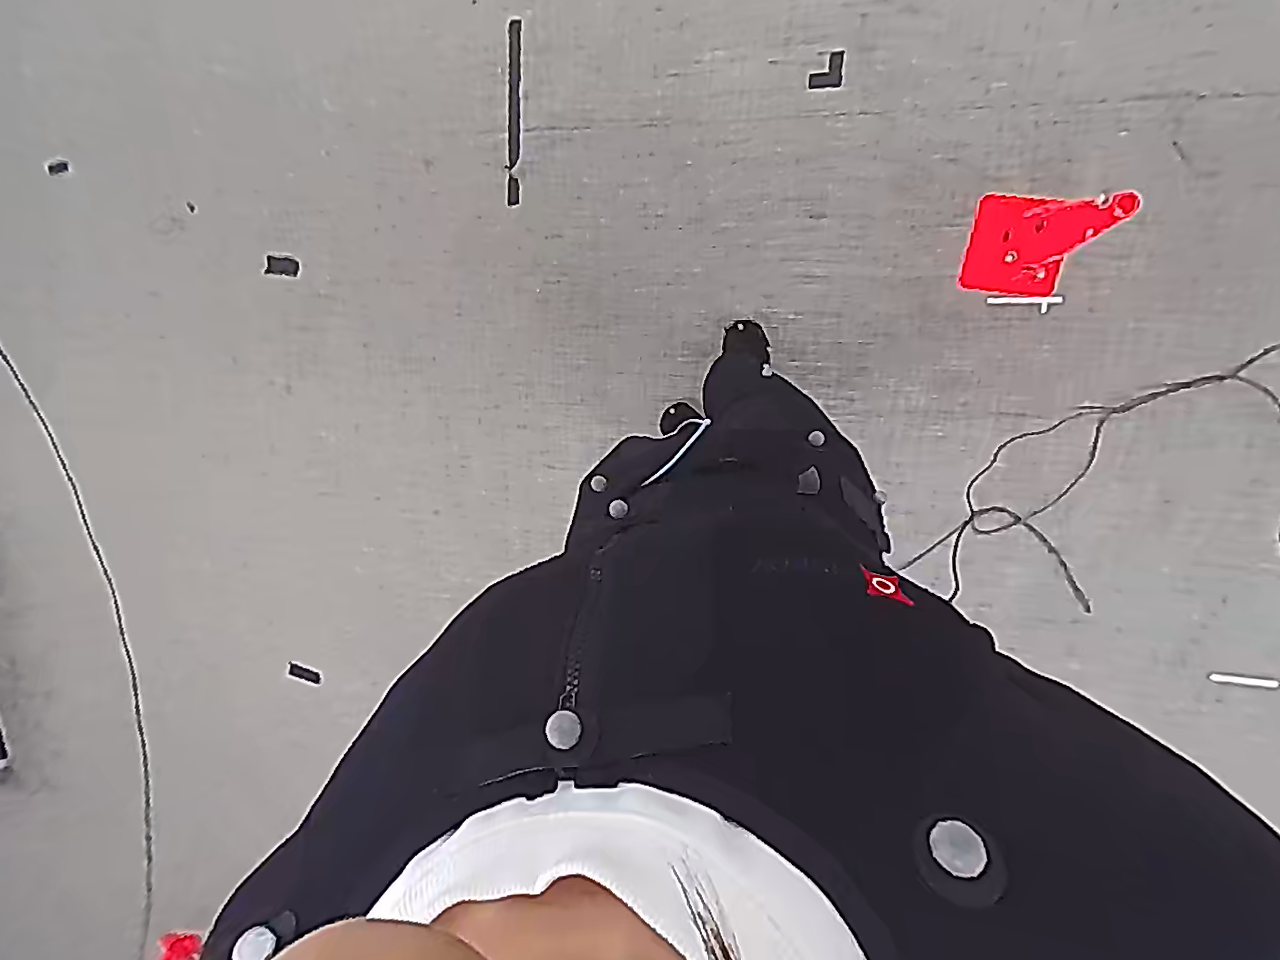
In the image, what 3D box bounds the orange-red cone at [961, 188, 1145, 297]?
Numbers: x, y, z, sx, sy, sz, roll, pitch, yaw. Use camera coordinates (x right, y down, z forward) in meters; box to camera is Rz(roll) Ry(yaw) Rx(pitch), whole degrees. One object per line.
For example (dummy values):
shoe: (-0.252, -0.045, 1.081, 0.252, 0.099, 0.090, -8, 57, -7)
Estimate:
orange-red cone: (0.795, -0.477, 1.012, 0.198, 0.360, 0.199, 11, 103, 7)
